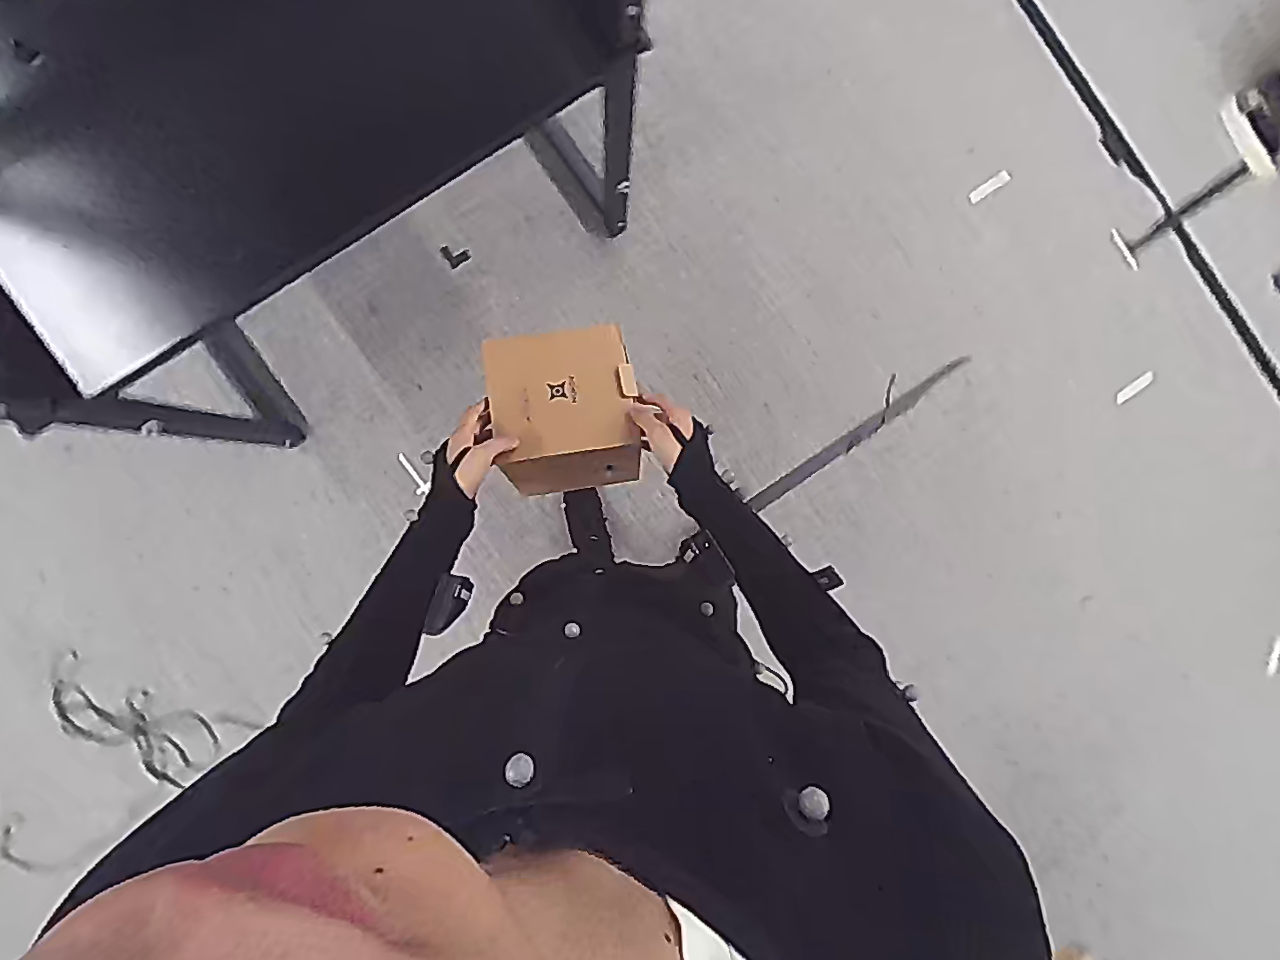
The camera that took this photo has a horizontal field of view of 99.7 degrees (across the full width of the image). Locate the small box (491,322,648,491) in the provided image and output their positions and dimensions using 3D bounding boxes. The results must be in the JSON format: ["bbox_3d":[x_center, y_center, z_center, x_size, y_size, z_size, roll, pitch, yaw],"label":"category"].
[{"bbox_3d":[-0.090,-0.089,0.724,0.179,0.176,0.168,-7,75,-4],"label":"small box"}]
